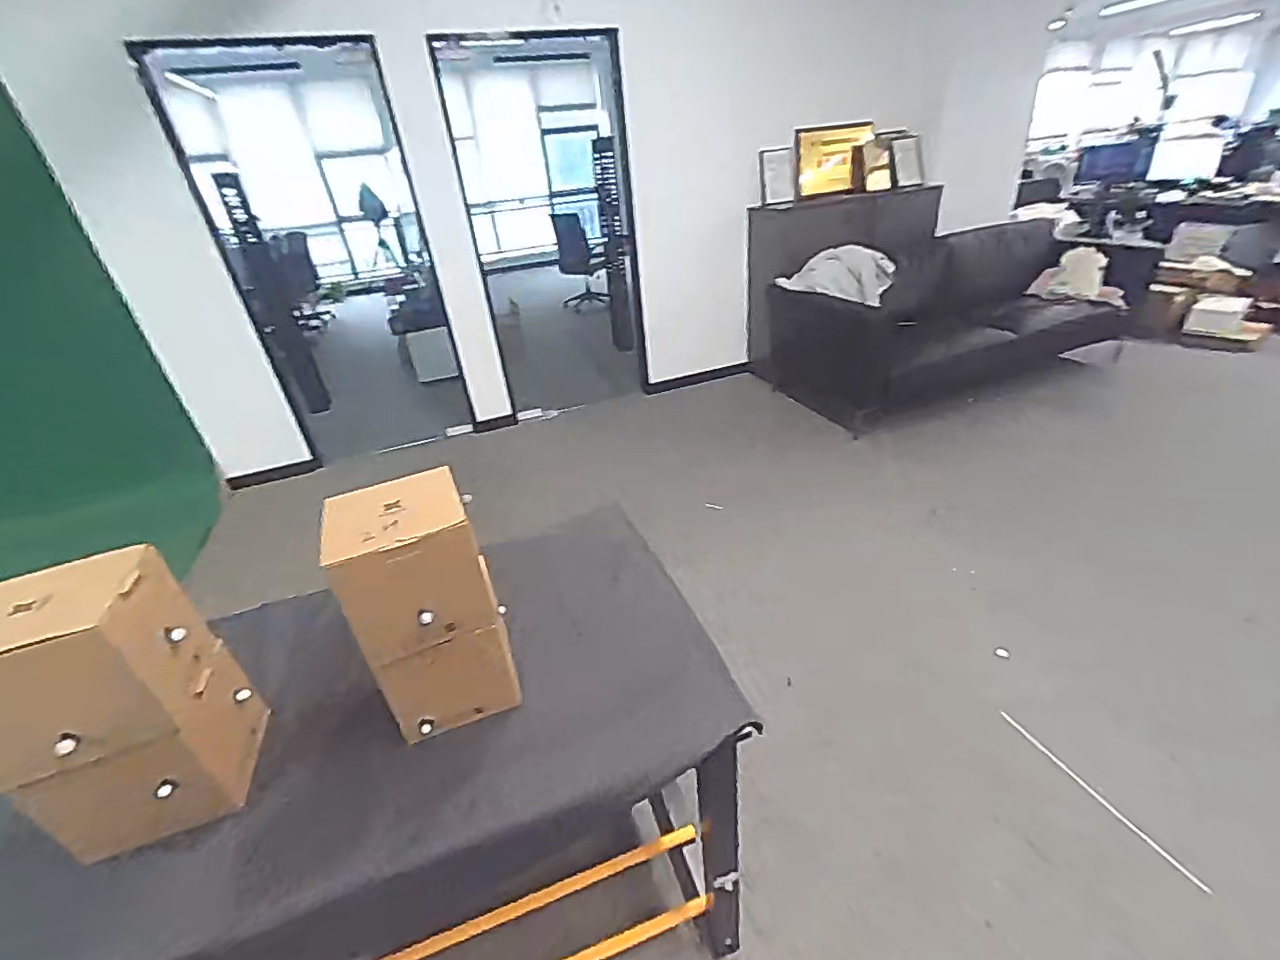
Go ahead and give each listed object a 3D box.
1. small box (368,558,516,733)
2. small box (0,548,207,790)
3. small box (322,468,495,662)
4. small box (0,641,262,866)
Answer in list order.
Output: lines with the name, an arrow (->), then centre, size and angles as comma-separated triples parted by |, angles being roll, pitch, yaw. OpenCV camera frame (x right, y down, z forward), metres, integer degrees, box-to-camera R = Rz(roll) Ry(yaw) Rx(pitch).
small box -> -0.294, 0.251, 0.820 | 0.168, 0.176, 0.179 | -15, 30, -16
small box -> -0.650, 0.210, 0.624 | 0.179, 0.176, 0.168 | -16, 29, -18
small box -> -0.311, 0.110, 0.737 | 0.168, 0.176, 0.179 | -18, 32, -20
small box -> -0.637, 0.351, 0.708 | 0.179, 0.176, 0.168 | -15, 29, -15
